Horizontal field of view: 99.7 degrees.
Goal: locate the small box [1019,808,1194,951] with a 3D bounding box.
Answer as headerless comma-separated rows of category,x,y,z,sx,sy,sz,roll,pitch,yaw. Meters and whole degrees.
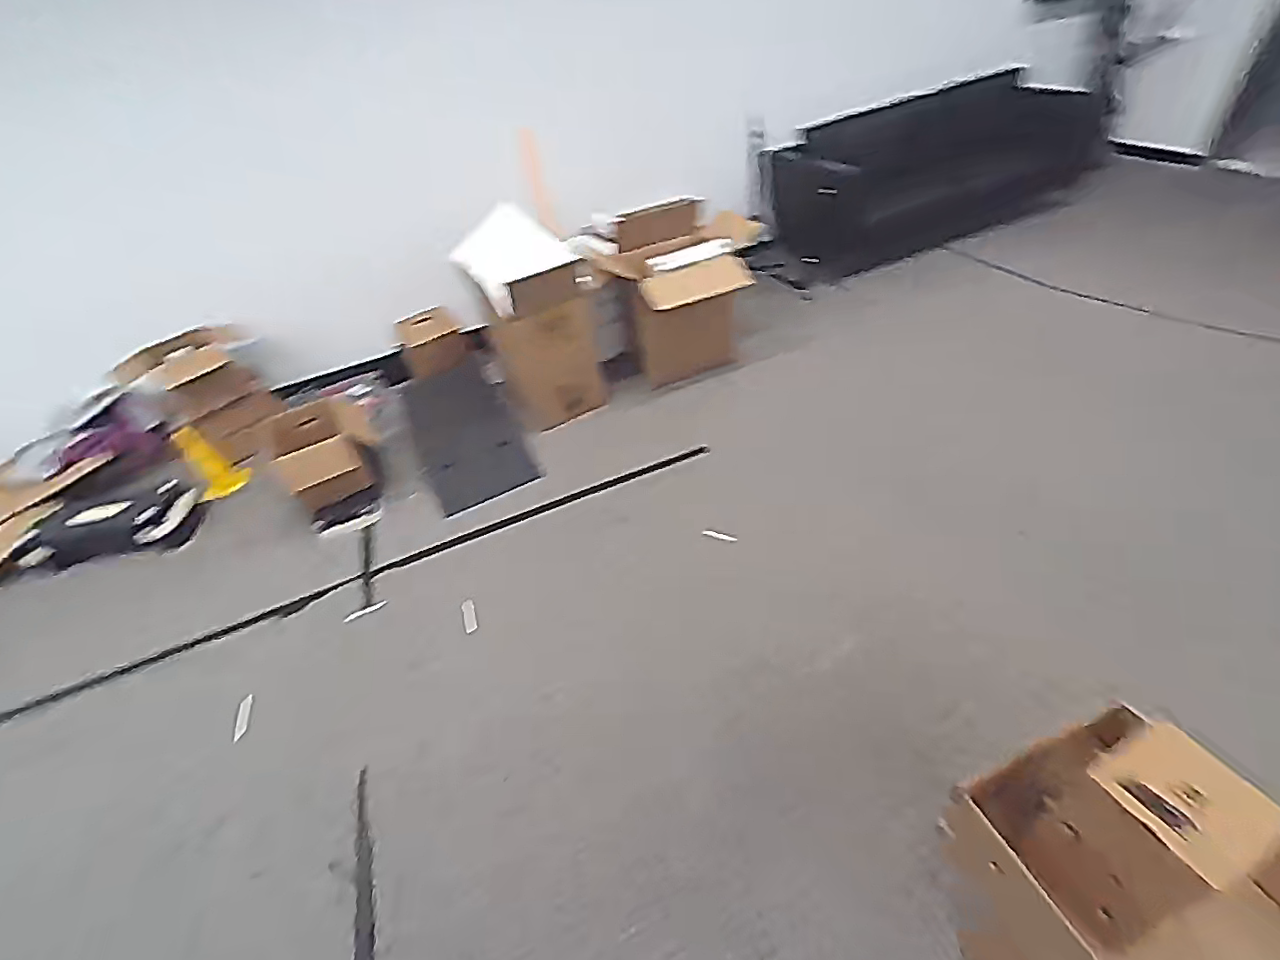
small box,0.779,0.629,0.888,0.168,0.176,0.179,-23,41,-15

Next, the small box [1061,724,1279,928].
small box,0.762,0.502,0.785,0.179,0.176,0.168,-21,42,-15
